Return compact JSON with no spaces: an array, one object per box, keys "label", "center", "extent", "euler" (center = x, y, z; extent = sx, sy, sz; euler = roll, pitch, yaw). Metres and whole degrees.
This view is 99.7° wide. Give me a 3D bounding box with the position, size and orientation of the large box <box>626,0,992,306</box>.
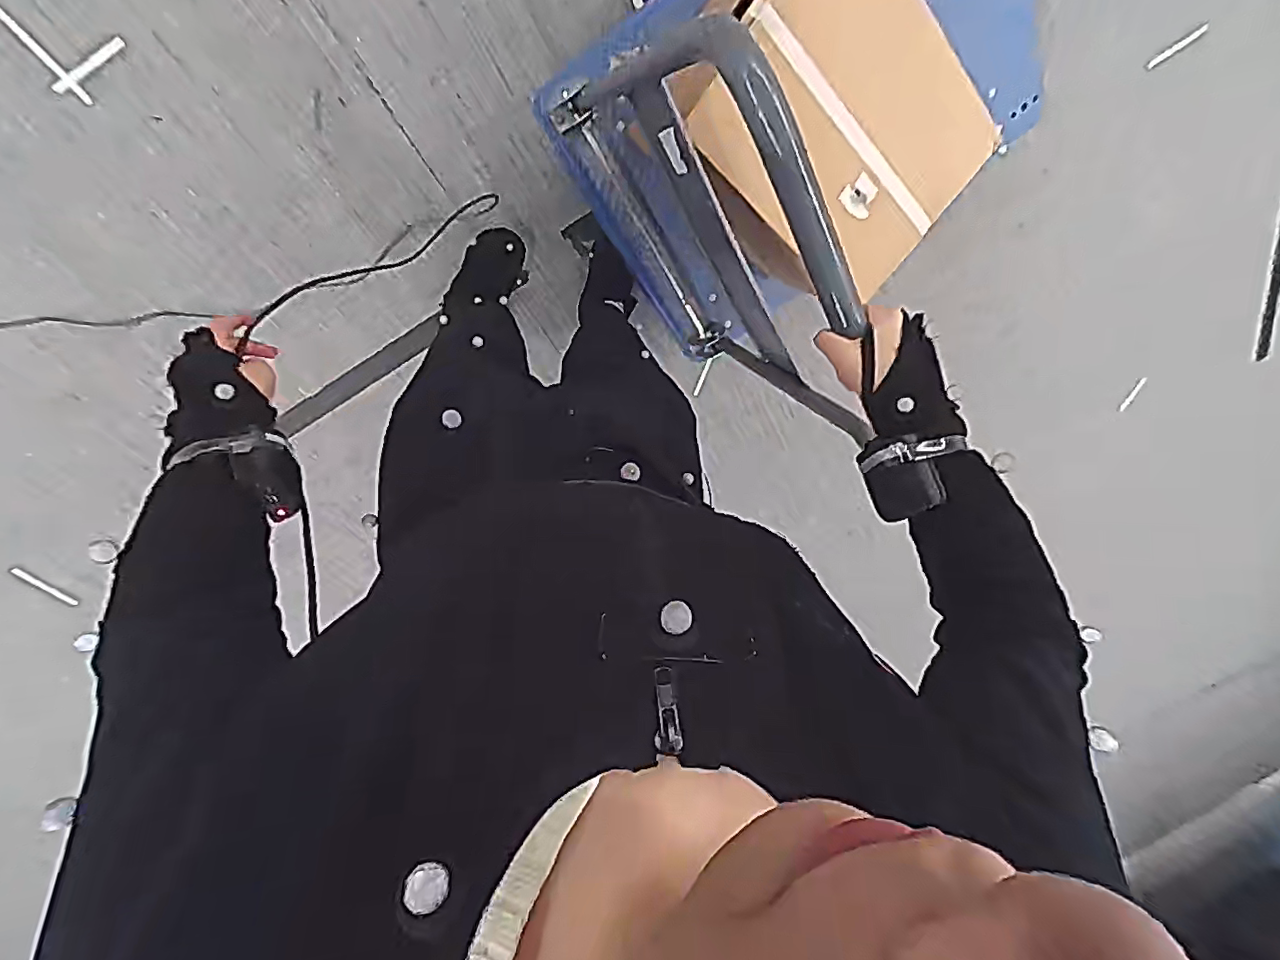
[{"label":"large box","center":[0.248,-0.553,0.872],"extent":[0.408,0.320,0.320],"euler":[29,109,-30]}]
